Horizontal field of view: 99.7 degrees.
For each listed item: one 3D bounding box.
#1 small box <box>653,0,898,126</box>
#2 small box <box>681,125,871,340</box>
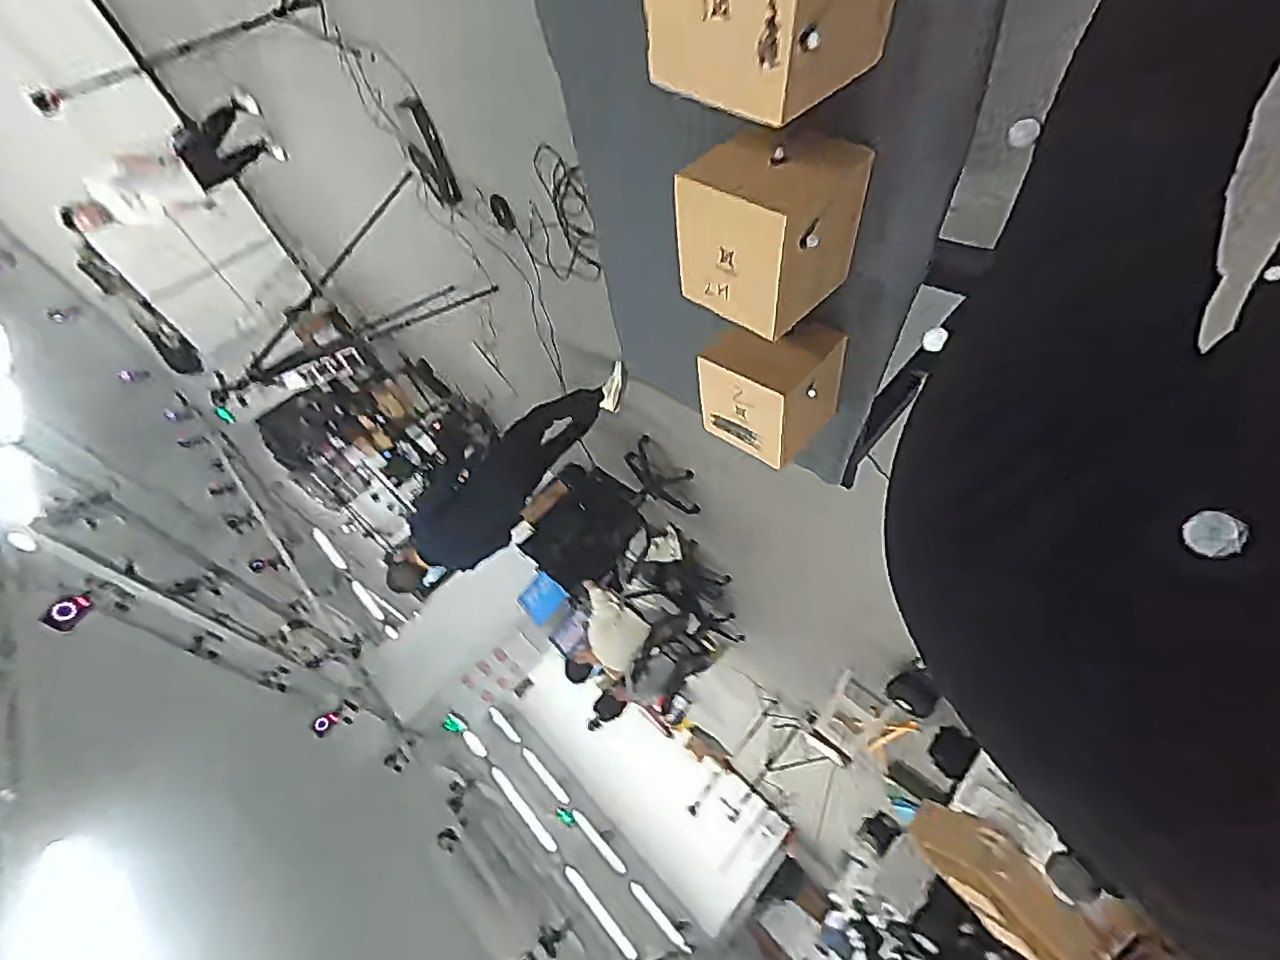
[{"bbox_3d":[0.129,-0.476,0.506,0.179,0.176,0.168,40,160,25],"label":"small box"},{"bbox_3d":[0.172,-0.326,0.703,0.168,0.176,0.179,38,159,28],"label":"small box"}]
